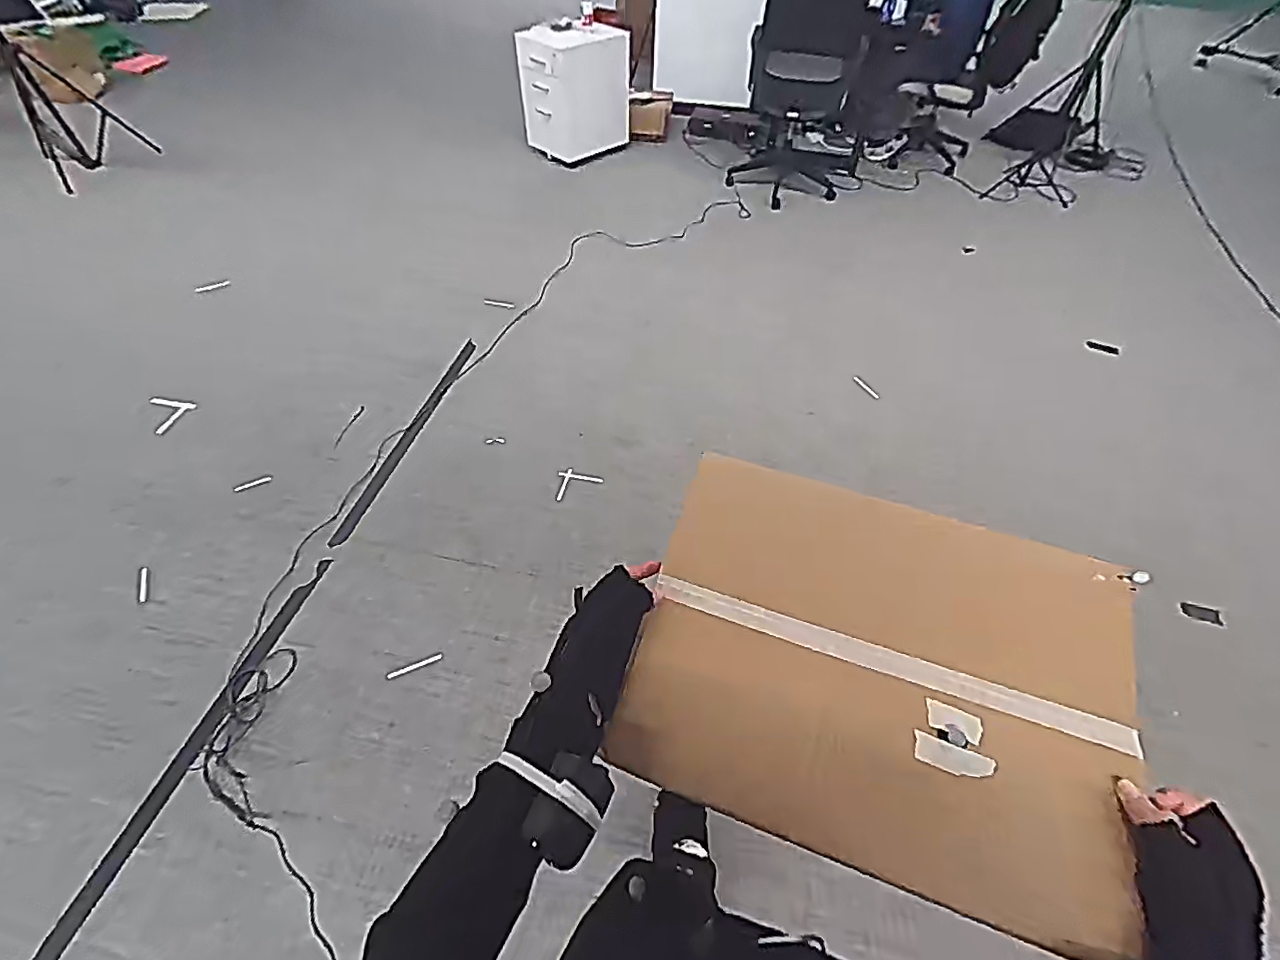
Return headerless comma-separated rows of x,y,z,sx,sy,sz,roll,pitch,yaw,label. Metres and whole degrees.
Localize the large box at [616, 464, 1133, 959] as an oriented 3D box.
0.219,0.231,0.616,0.408,0.320,0.320,17,65,12,large box
